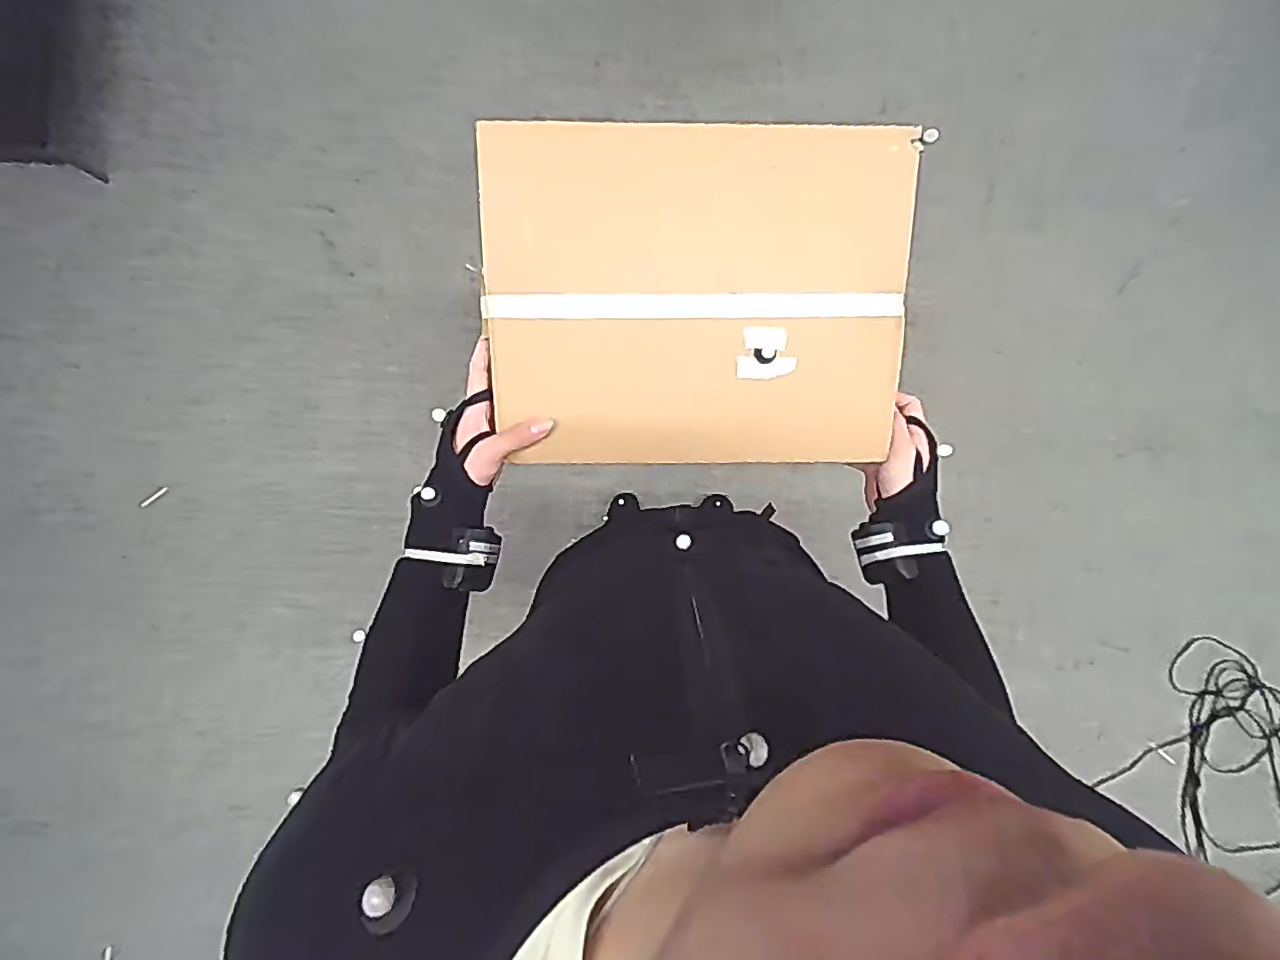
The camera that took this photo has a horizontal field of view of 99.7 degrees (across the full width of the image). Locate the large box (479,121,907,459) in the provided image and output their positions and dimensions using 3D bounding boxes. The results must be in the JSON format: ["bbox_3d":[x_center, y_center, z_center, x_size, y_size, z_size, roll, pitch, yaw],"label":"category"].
[{"bbox_3d":[0.047,-0.212,0.674,0.408,0.320,0.320,-1,104,-2],"label":"large box"}]
